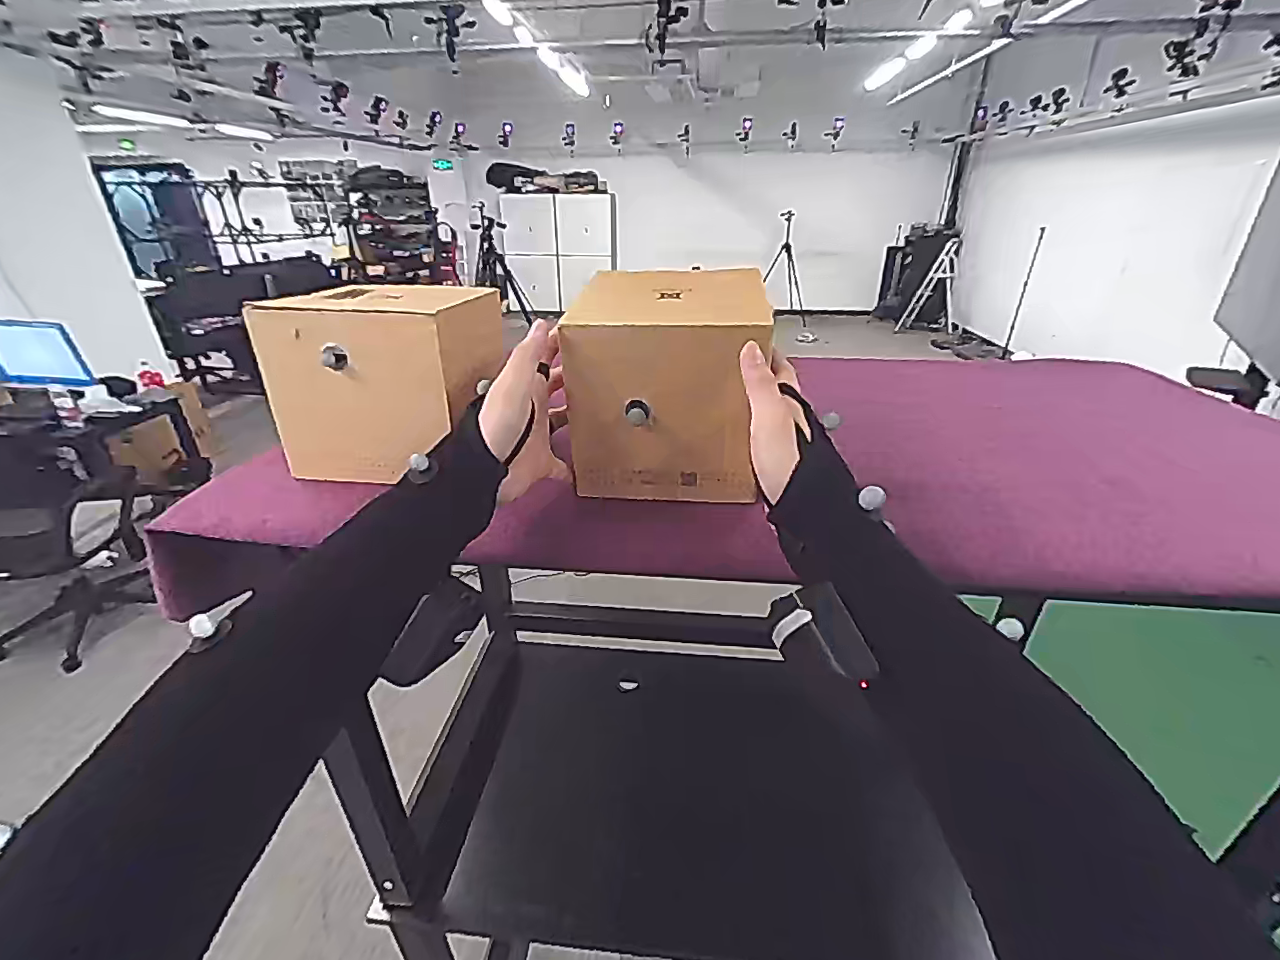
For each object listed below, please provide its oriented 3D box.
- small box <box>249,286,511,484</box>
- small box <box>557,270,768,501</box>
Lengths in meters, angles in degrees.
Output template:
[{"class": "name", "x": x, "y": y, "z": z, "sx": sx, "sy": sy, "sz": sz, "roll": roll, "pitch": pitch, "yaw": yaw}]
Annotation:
[{"class": "small box", "x": -0.248, "y": -0.105, "z": 0.565, "sx": 0.179, "sy": 0.176, "sz": 0.168, "roll": 3, "pitch": 27, "yaw": 5}, {"class": "small box", "x": 0.030, "y": -0.092, "z": 0.519, "sx": 0.168, "sy": 0.176, "sz": 0.179, "roll": 1, "pitch": 33, "yaw": 7}]
